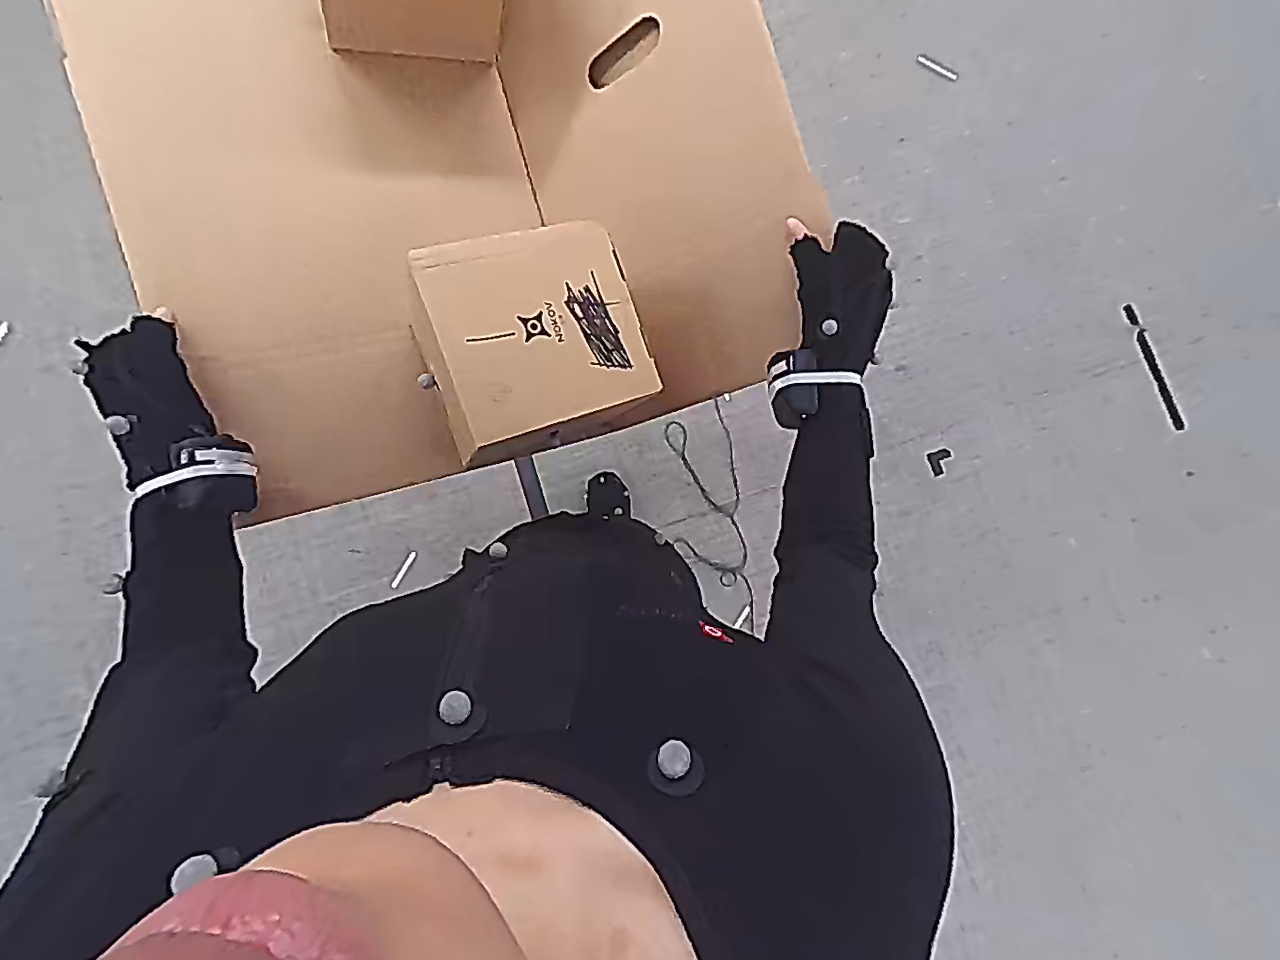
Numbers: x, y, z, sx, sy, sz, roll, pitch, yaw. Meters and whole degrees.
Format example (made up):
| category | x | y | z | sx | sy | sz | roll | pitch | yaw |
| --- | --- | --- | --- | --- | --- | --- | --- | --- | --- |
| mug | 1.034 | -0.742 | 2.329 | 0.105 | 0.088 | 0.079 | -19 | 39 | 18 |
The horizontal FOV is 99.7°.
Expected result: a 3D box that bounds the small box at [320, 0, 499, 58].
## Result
| category | x | y | z | sx | sy | sz | roll | pitch | yaw |
| --- | --- | --- | --- | --- | --- | --- | --- | --- | --- |
| small box | -0.235 | -0.558 | 0.527 | 0.179 | 0.176 | 0.168 | -12 | 89 | -22 |
